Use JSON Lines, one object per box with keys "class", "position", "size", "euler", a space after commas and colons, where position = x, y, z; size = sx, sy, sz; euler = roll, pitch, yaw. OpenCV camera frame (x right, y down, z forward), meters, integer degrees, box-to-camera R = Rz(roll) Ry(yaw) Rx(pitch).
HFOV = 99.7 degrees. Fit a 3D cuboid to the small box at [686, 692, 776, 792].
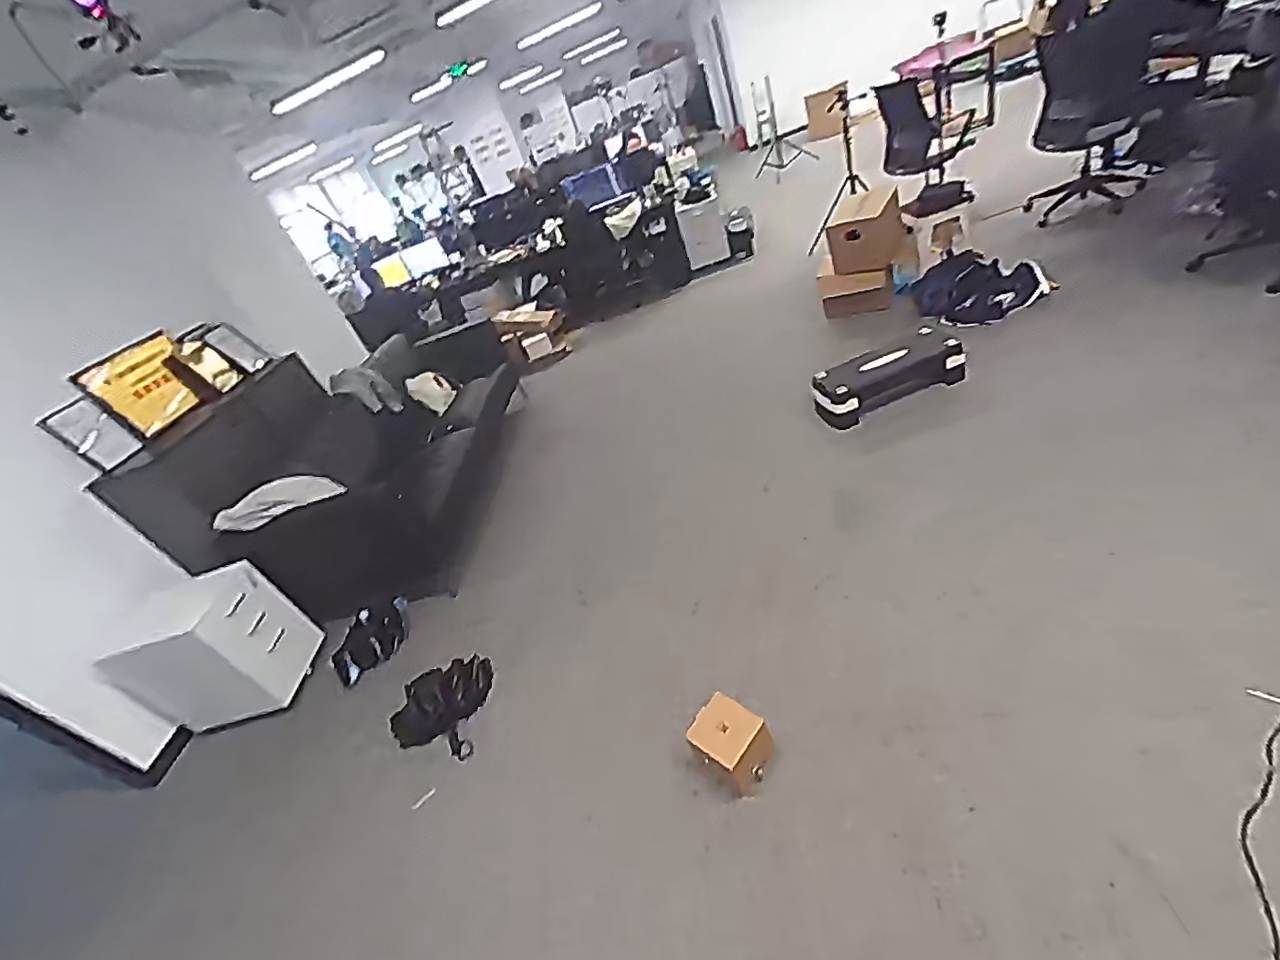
{"class": "small box", "position": [0.269, 0.763, 1.572], "size": [0.179, 0.176, 0.168], "euler": [16, 52, 44]}
